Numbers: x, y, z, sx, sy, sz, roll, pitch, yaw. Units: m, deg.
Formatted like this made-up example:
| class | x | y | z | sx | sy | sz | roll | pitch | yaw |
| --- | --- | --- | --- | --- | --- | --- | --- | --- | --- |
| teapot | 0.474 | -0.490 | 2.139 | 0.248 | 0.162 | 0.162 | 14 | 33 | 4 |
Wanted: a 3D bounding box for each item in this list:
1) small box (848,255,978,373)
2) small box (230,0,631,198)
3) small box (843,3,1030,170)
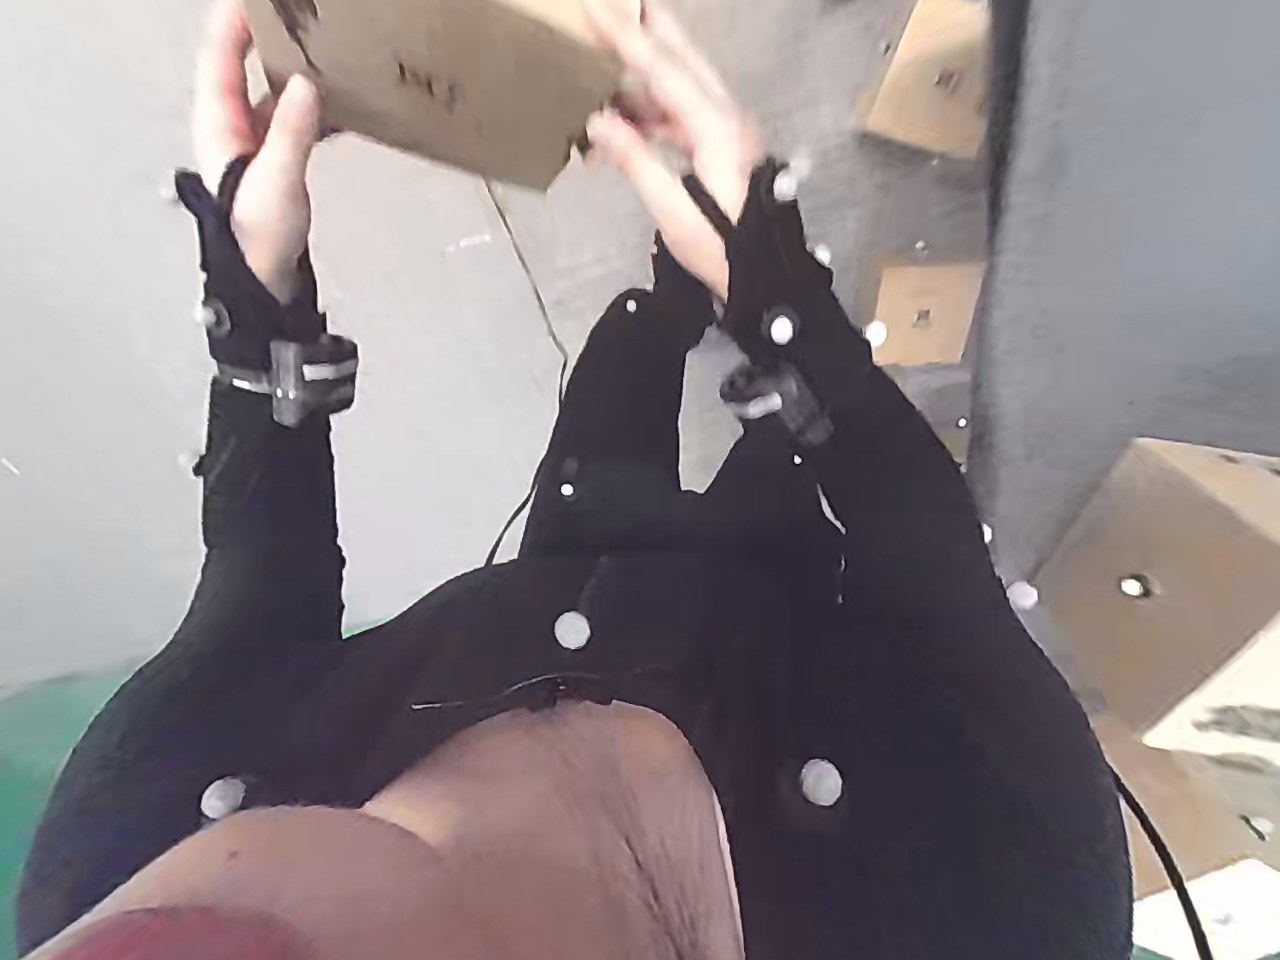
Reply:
| class | x | y | z | sx | sy | sz | roll | pitch | yaw |
| --- | --- | --- | --- | --- | --- | --- | --- | --- | --- |
| small box | 0.500 | -0.315 | 1.021 | 0.168 | 0.176 | 0.179 | 0 | 121 | 8 |
| small box | -0.105 | -0.293 | 0.292 | 0.179 | 0.168 | 0.176 | 8 | 90 | -29 |
| small box | 0.444 | -0.604 | 0.850 | 0.179 | 0.176 | 0.168 | 16 | 123 | -2 |
